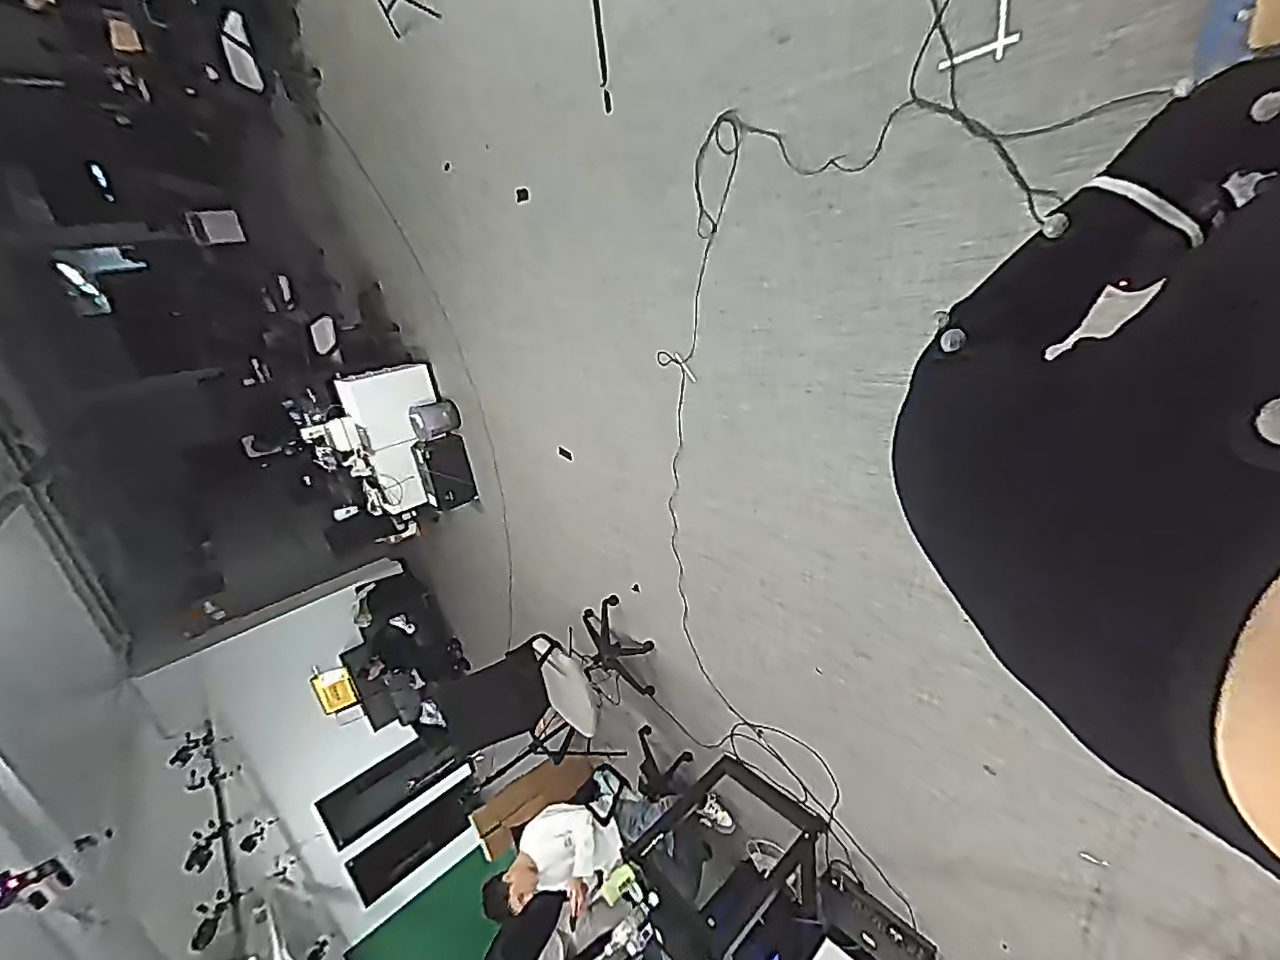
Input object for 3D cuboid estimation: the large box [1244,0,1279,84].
[{"bbox_3d":[0.898,-0.632,0.505,0.408,0.320,0.320,15,122,46],"label":"large box"}]
